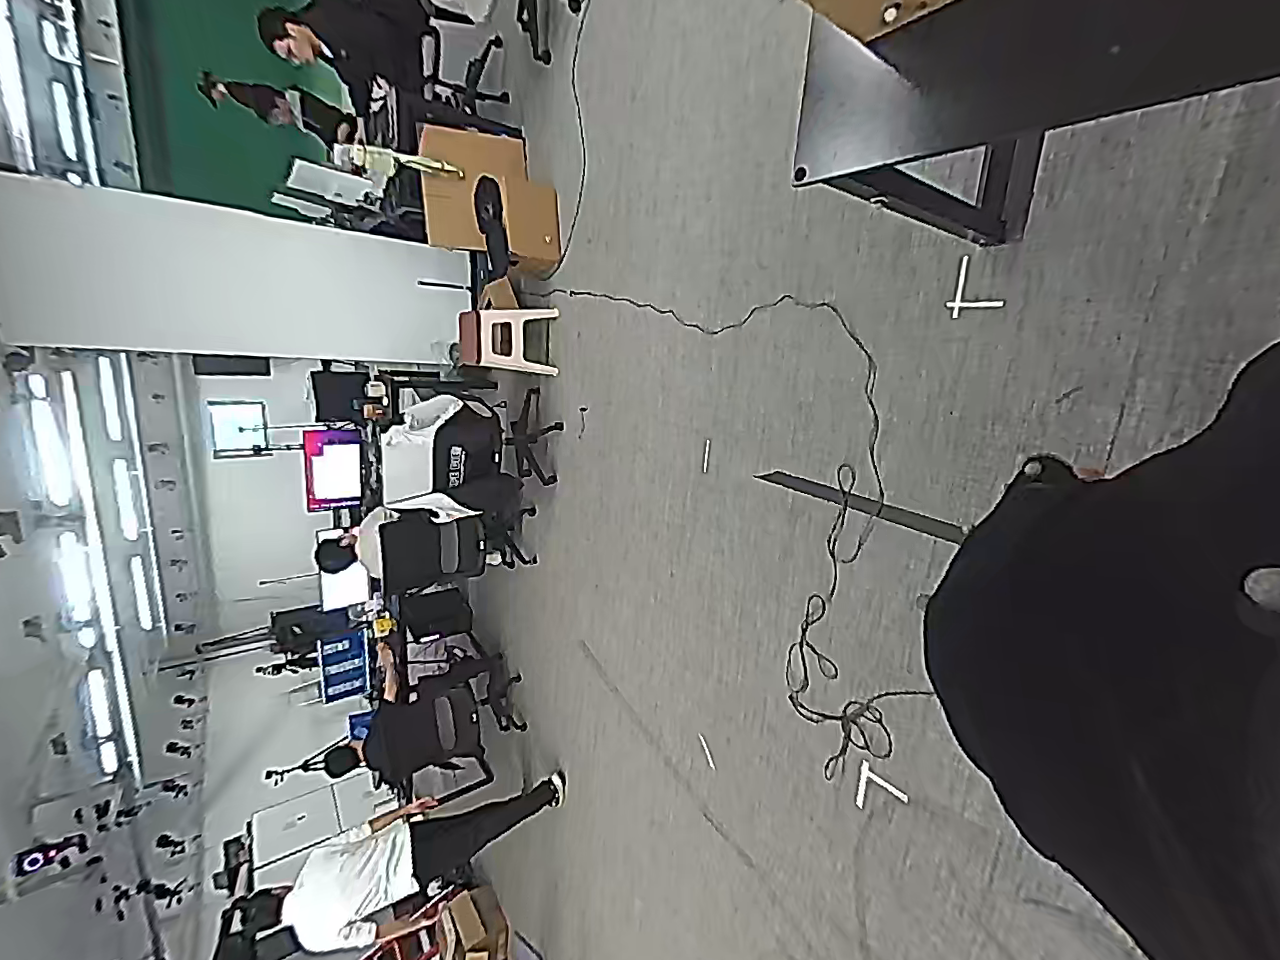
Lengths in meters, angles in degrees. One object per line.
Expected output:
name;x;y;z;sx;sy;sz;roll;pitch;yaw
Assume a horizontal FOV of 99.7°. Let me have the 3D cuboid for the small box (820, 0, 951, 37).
small box;0.327;-0.733;0.699;0.168;0.176;0.179;18;111;52
